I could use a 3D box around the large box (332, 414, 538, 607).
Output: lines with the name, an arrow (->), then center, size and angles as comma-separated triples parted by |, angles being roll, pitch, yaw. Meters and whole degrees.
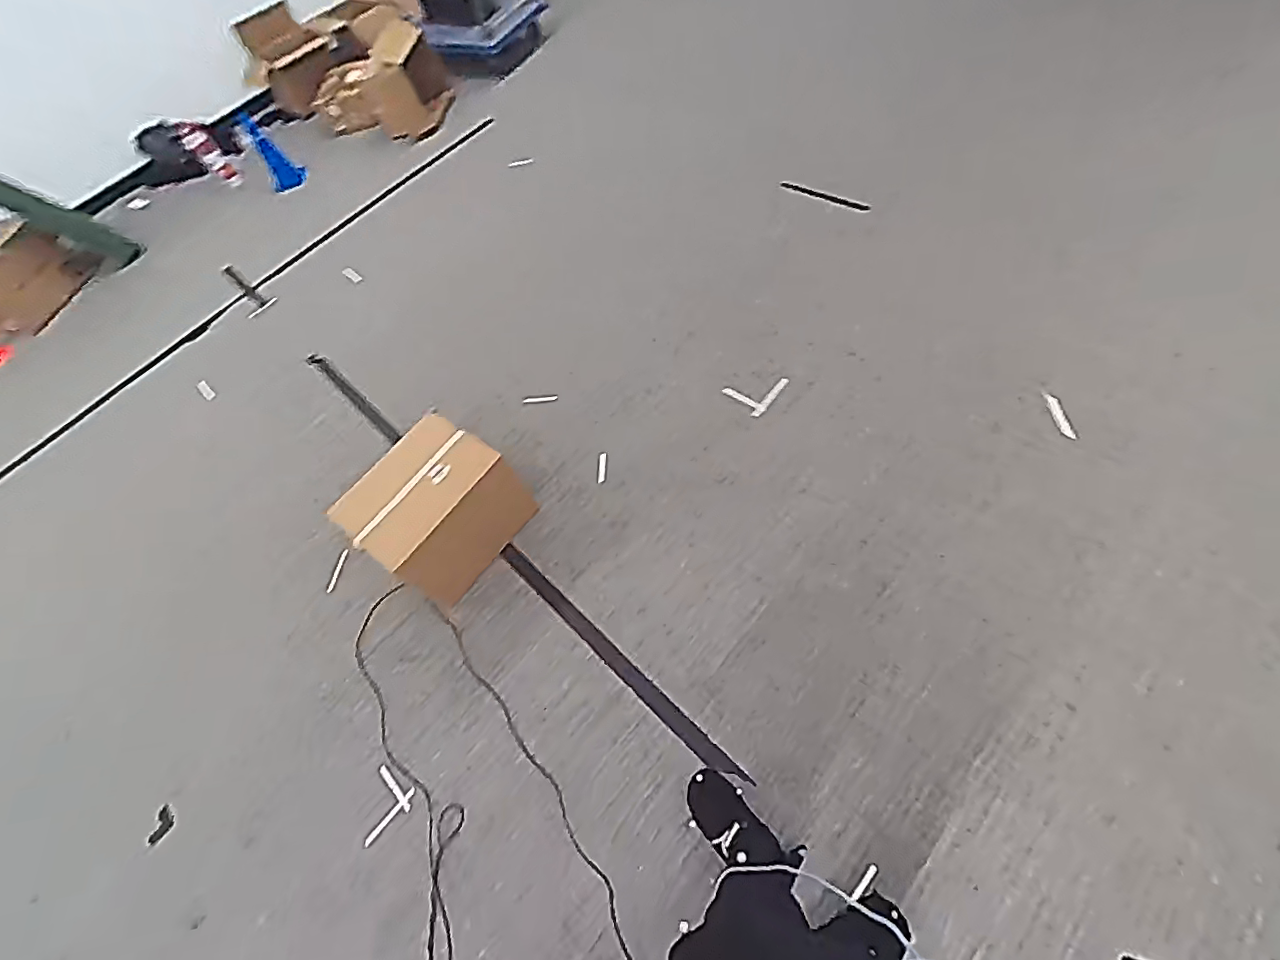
large box -> -0.580, 0.091, 1.589 | 0.320, 0.320, 0.408 | 30, 69, 25
